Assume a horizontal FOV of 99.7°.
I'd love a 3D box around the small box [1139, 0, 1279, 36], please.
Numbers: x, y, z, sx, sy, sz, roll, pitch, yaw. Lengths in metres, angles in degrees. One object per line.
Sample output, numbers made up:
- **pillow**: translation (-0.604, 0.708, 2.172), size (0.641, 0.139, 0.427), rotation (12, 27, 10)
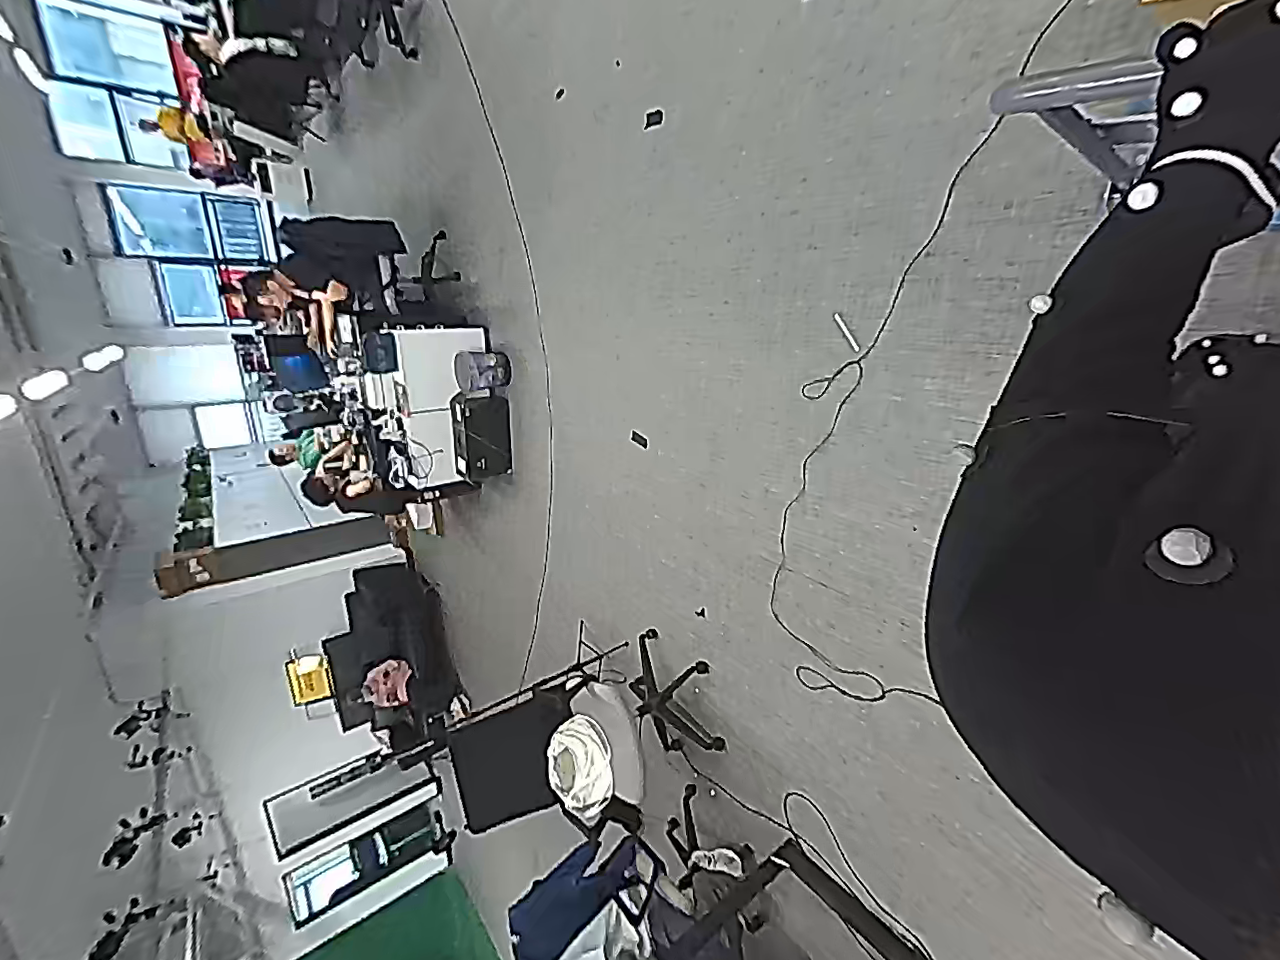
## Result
- **small box**: translation (0.860, -0.759, 0.757), size (0.179, 0.176, 0.168), rotation (30, 123, 42)
